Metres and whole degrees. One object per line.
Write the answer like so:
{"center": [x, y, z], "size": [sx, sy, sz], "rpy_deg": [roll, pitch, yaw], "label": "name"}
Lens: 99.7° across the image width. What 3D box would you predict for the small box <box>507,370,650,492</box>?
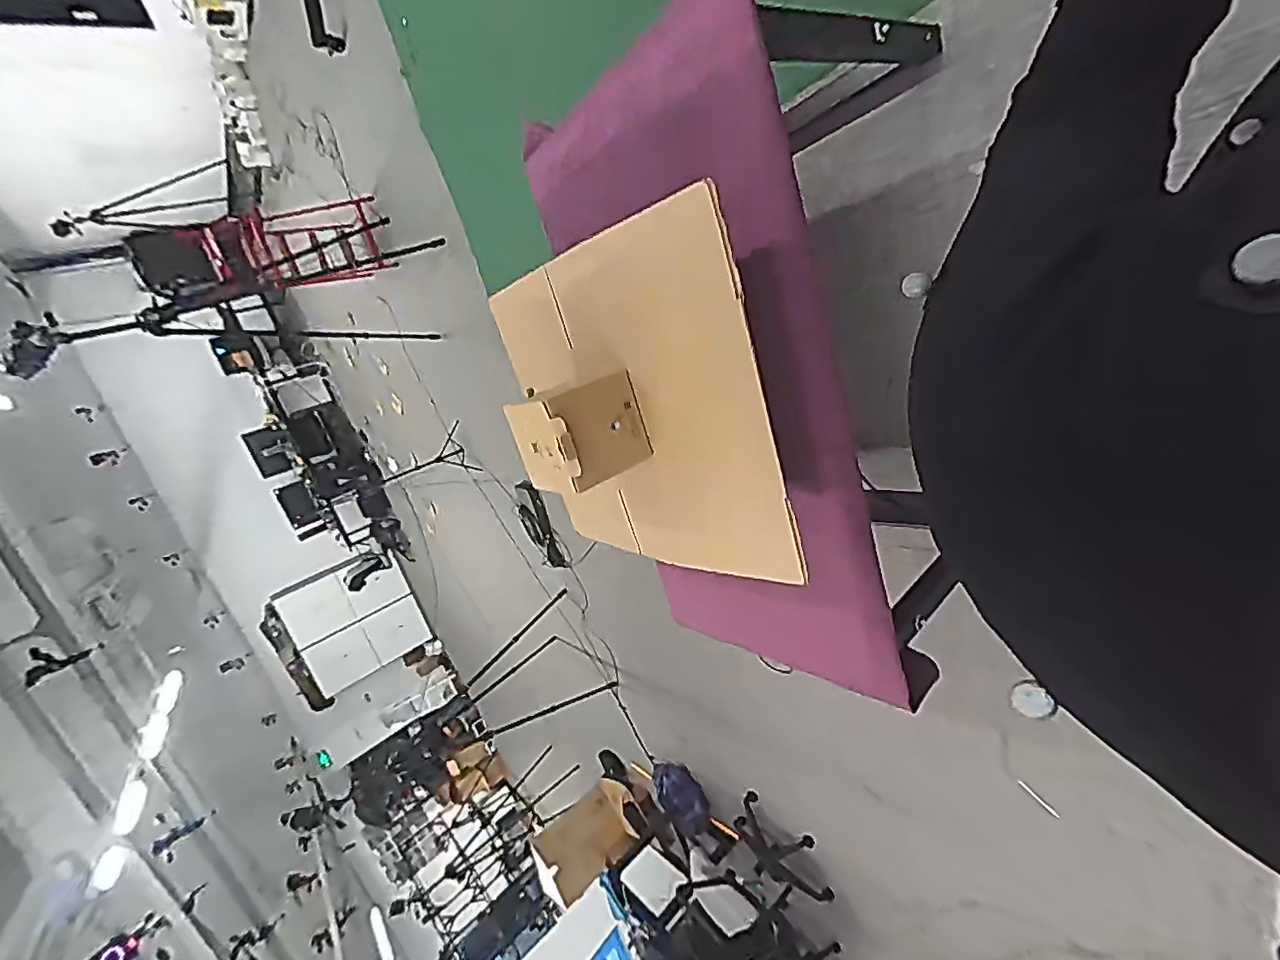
{"center": [-0.109, -0.092, 0.981], "size": [0.179, 0.176, 0.168], "rpy_deg": [5, 118, 53], "label": "small box"}
